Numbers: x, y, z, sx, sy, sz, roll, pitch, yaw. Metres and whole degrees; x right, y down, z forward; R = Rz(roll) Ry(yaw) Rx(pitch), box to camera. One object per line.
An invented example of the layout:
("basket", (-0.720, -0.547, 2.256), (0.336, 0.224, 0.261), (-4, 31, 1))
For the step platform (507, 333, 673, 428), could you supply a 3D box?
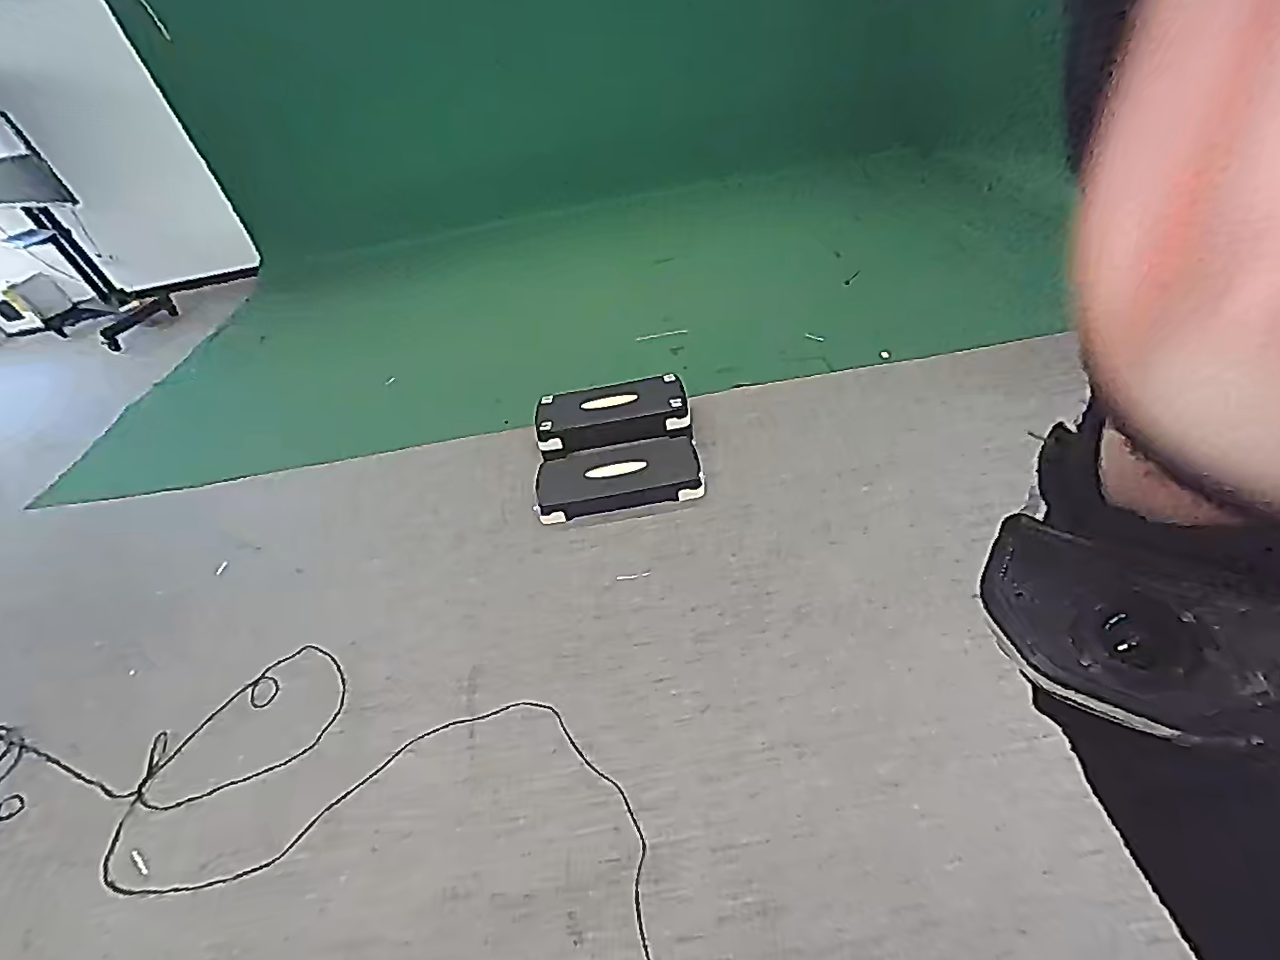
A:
("step platform", (-0.202, -0.421, 2.290), (0.684, 0.204, 0.286), (-10, 43, 2))
